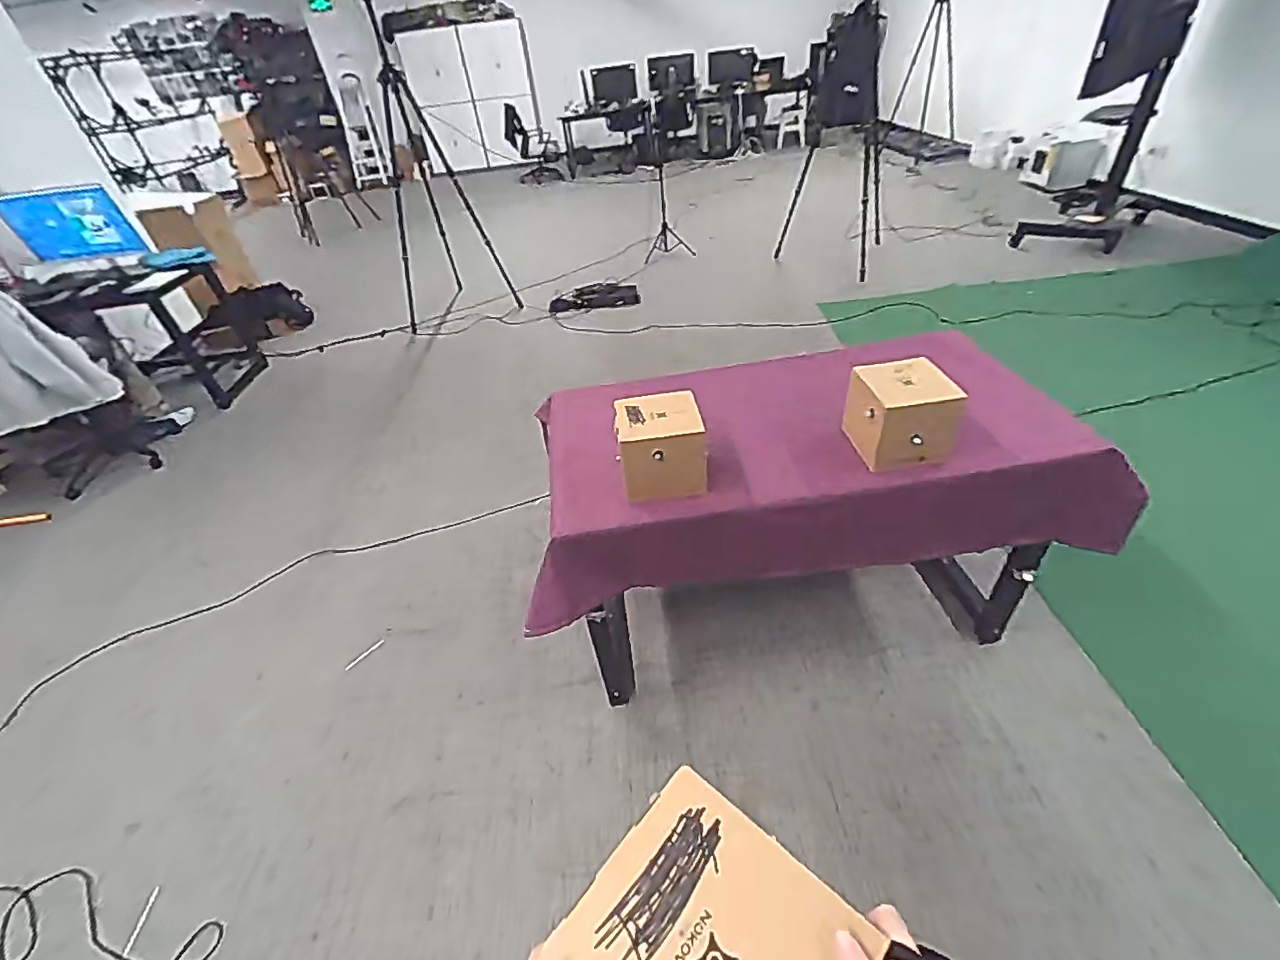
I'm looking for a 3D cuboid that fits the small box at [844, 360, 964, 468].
[{"bbox_3d":[0.563,-0.138,1.178,0.168,0.176,0.179,-7,39,0],"label":"small box"}]

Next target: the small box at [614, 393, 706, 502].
[{"bbox_3d":[0.044,-0.068,1.181,0.179,0.176,0.168,-8,39,-1],"label":"small box"}]
